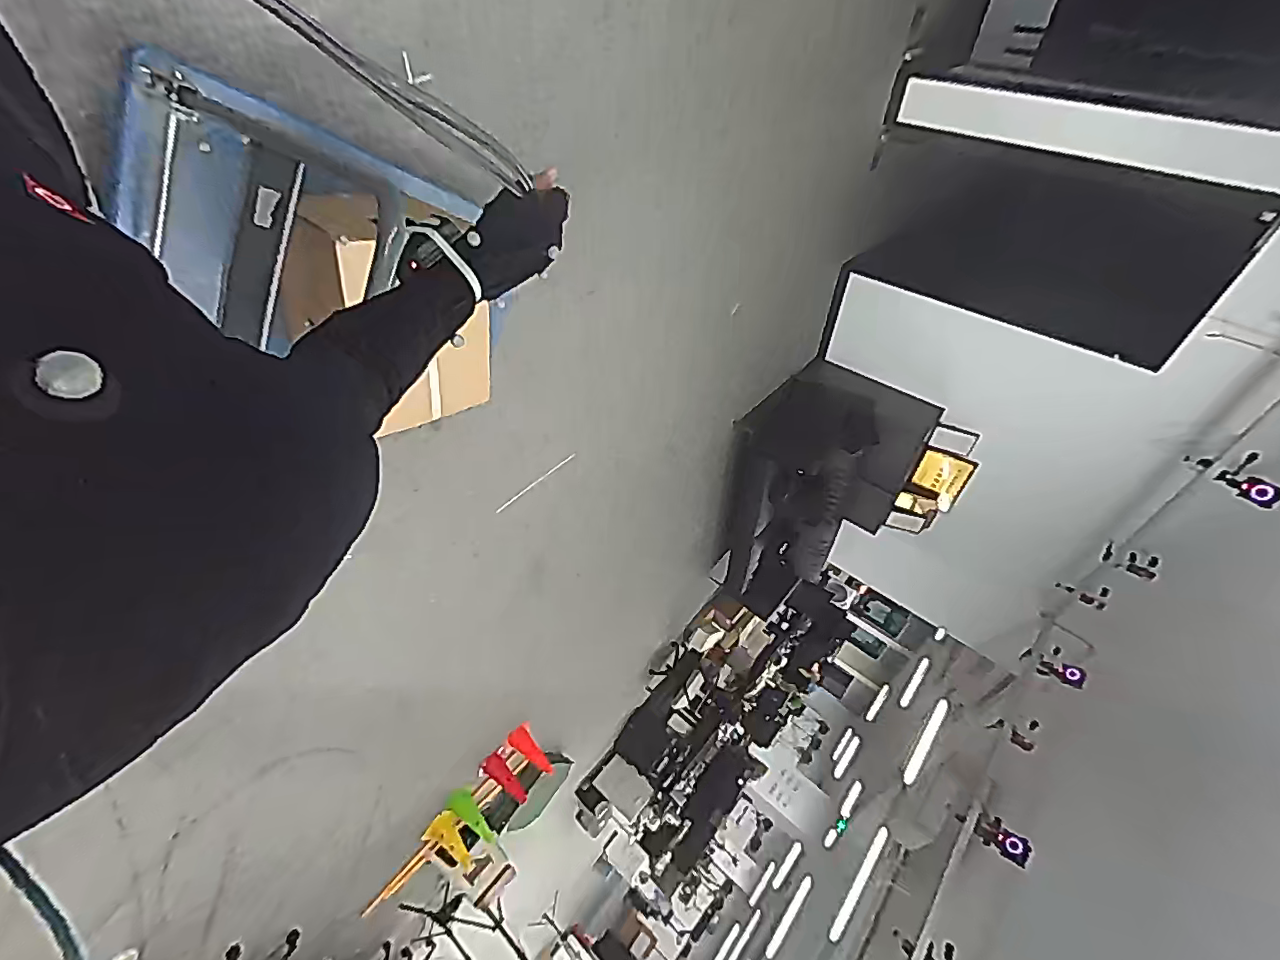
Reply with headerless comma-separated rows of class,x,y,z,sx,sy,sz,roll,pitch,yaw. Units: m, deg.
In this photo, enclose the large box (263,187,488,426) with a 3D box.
large box,-0.561,-0.395,1.200,0.320,0.320,0.408,-30,142,-42
